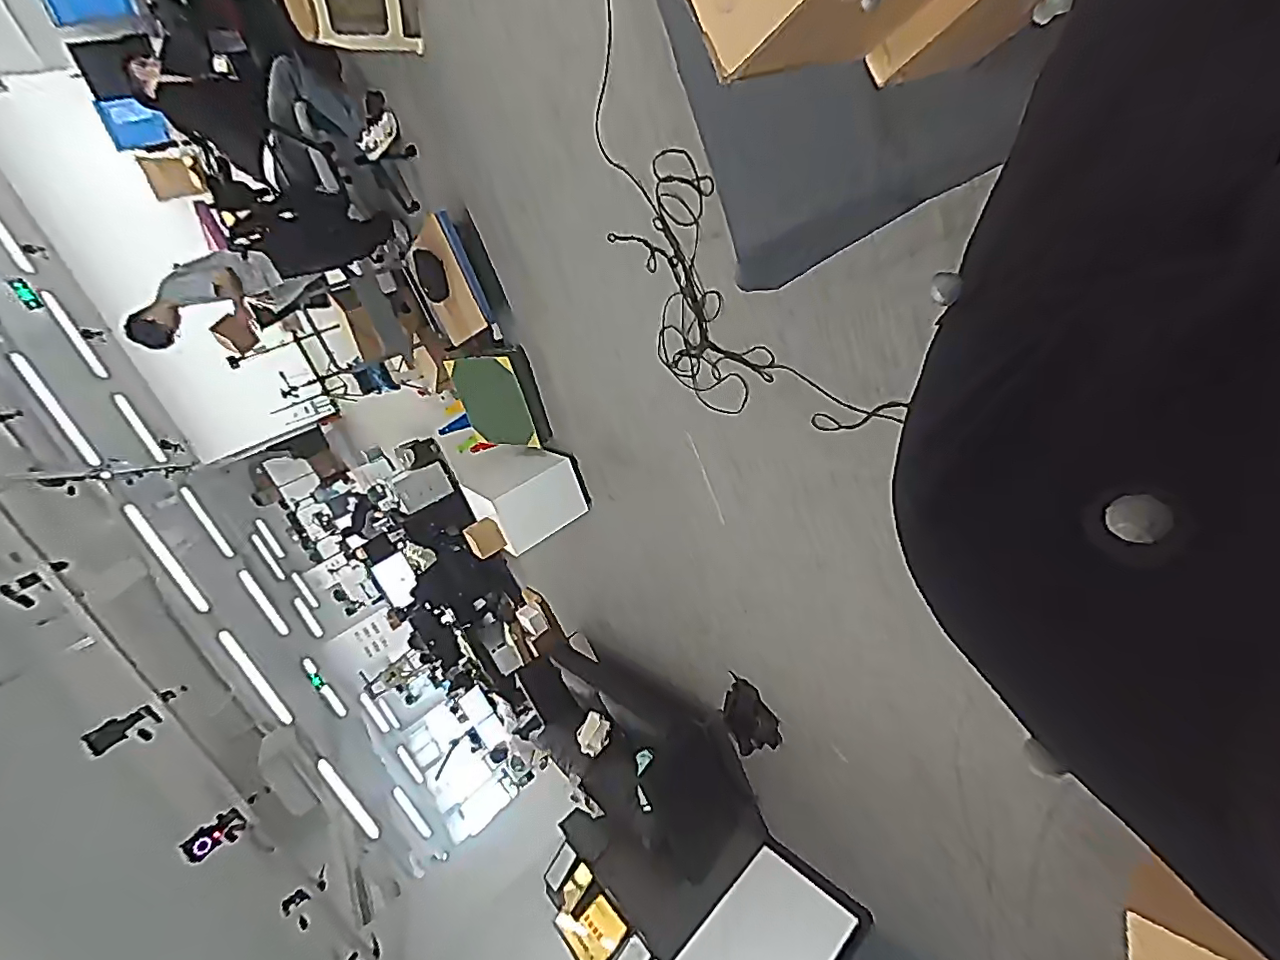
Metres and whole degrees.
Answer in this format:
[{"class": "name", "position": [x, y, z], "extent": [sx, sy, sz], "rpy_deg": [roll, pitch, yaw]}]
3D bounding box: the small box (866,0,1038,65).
[{"class": "small box", "position": [0.248, -0.441, 0.376], "extent": [0.179, 0.176, 0.168], "rpy_deg": [61, 152, -9]}]

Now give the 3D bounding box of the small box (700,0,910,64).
[{"class": "small box", "position": [0.124, -0.375, 0.292], "extent": [0.179, 0.176, 0.168], "rpy_deg": [-6, 115, 58]}]
